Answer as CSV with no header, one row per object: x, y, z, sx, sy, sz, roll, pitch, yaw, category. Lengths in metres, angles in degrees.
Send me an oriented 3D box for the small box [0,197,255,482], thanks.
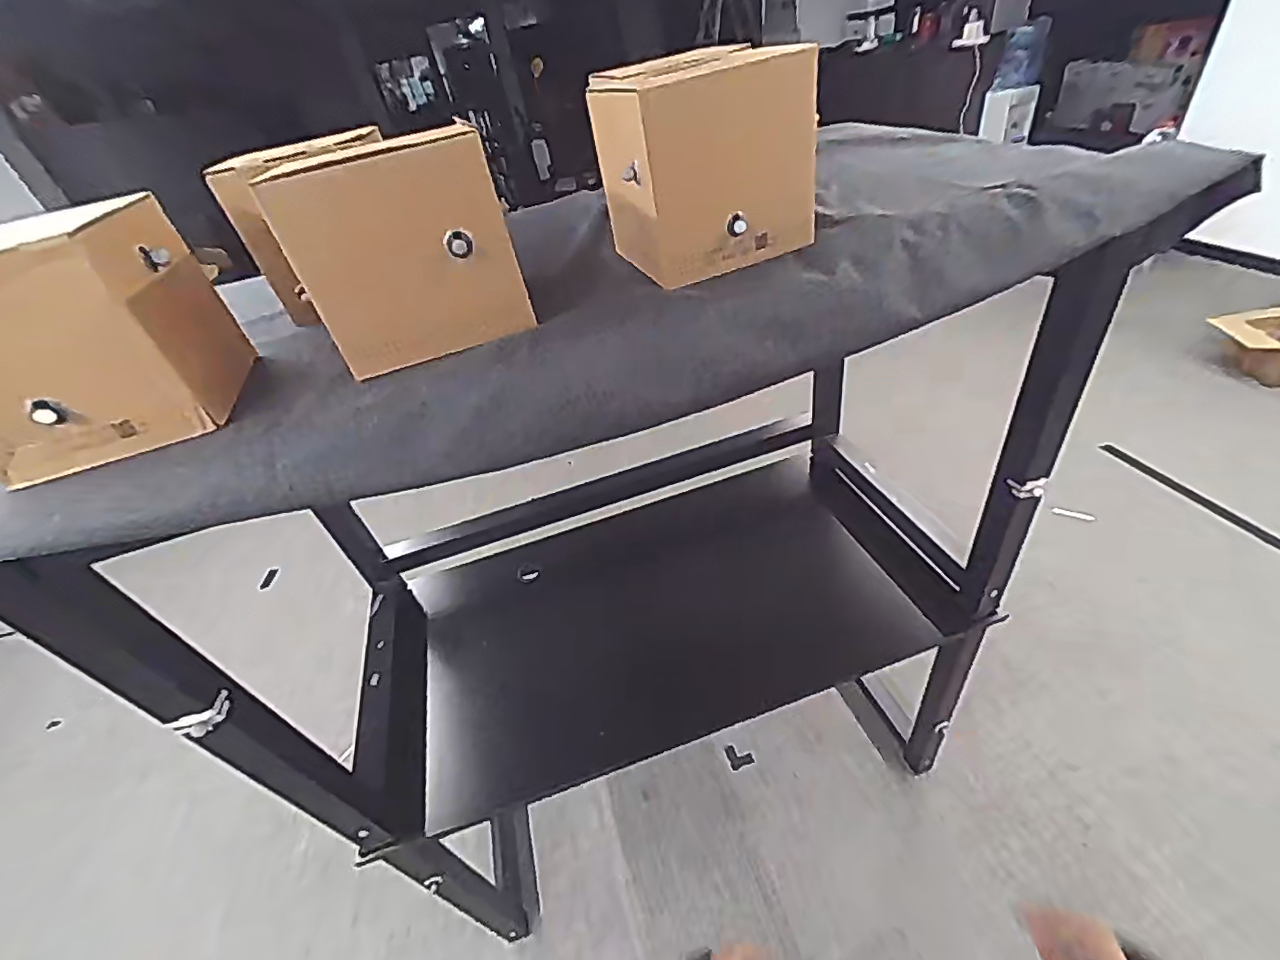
-0.480,-0.127,0.473,0.168,0.176,0.179,-20,40,-10,small box

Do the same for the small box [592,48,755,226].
0.045,-0.463,0.736,0.168,0.176,0.179,-18,39,-6,small box

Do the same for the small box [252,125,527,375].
-0.217,-0.224,0.520,0.179,0.176,0.168,-19,37,-9,small box

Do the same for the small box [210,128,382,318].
-0.377,-0.321,0.681,0.168,0.176,0.179,-18,39,-7,small box
